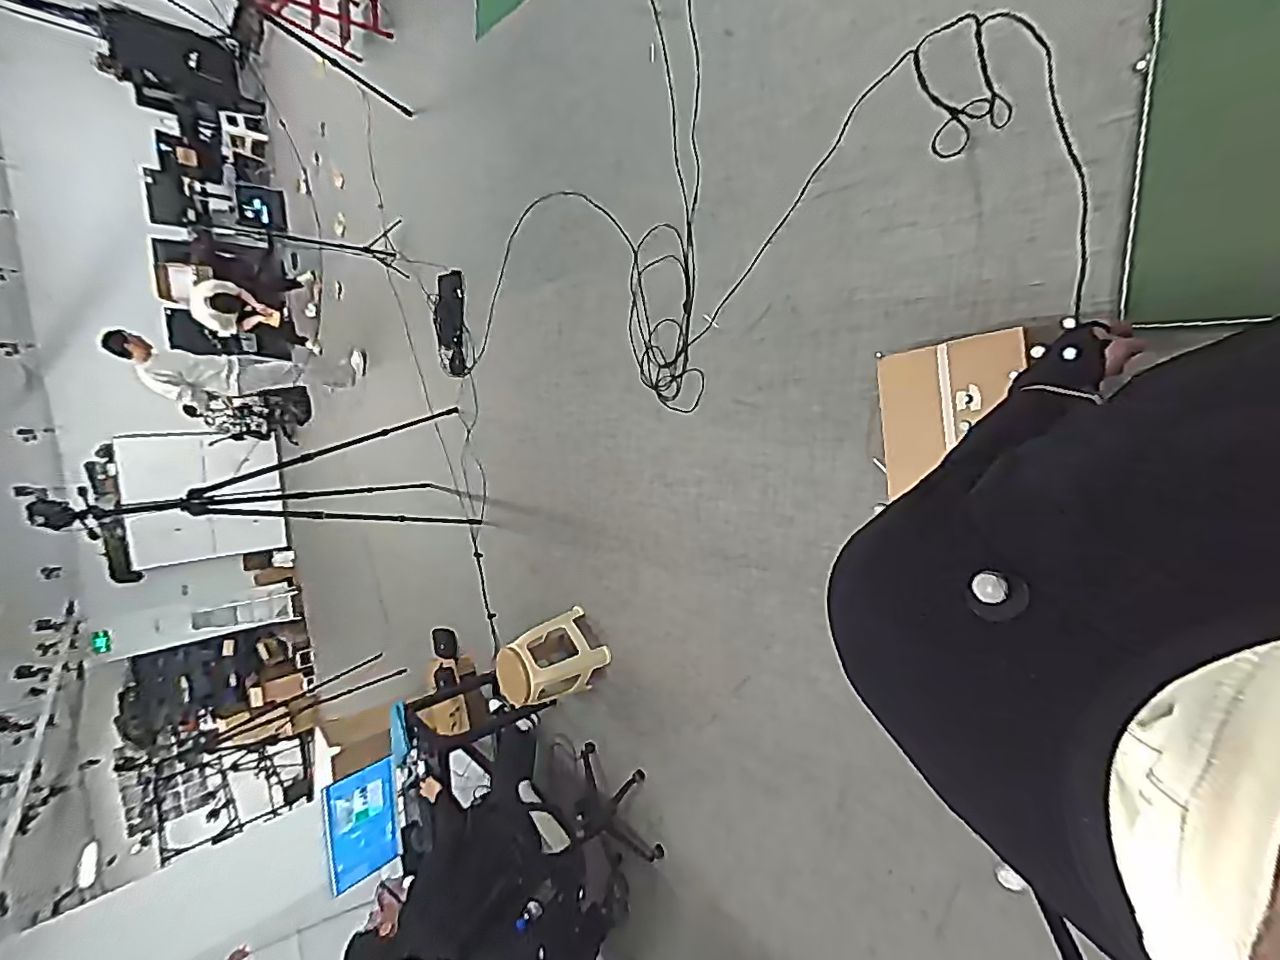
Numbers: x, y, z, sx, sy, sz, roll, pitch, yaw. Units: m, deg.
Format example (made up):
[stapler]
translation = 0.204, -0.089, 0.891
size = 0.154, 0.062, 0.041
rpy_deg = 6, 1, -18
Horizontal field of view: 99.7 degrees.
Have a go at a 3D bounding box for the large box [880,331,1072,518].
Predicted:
[large box]
translation = 0.841, -0.122, 1.353
size = 0.320, 0.320, 0.408
rpy_deg = -5, 91, 48
